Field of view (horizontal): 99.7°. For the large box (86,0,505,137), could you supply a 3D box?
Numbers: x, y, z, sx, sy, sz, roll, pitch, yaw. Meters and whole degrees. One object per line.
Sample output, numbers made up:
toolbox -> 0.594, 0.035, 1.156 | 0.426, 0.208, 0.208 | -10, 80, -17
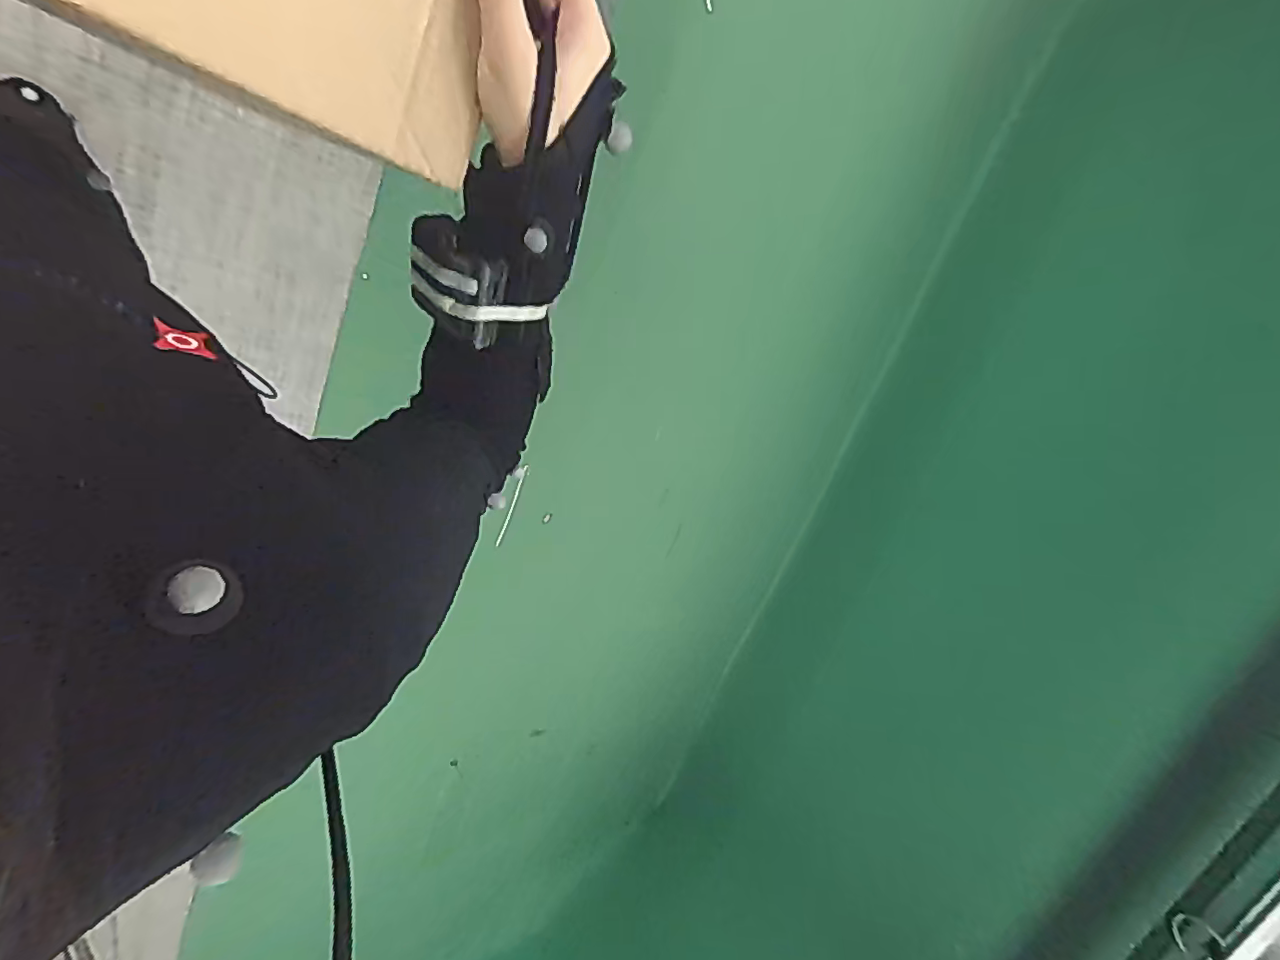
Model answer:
large box -> -0.262, -0.382, 0.170 | 0.408, 0.320, 0.320 | 2, 118, -50
